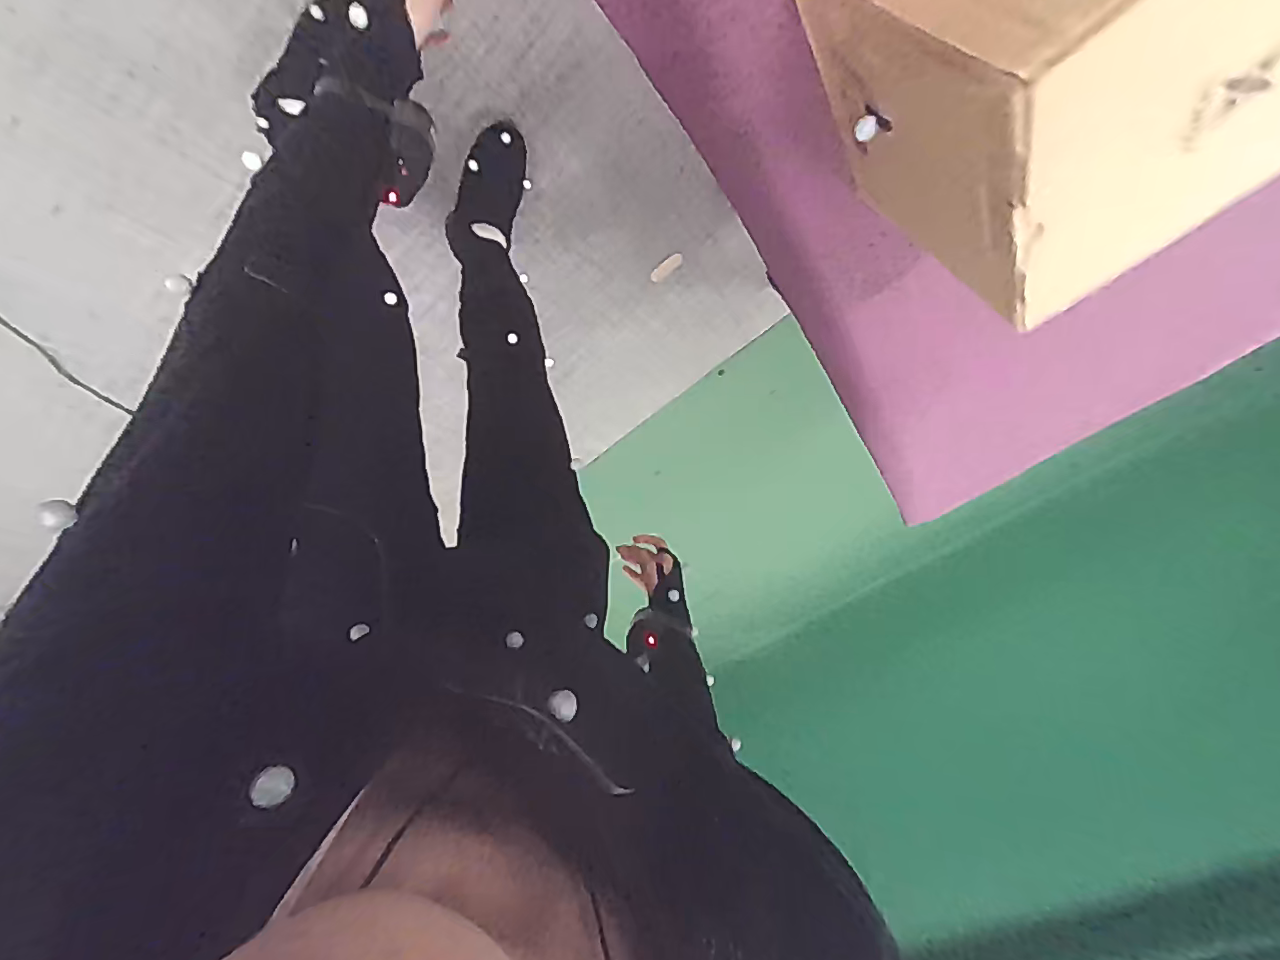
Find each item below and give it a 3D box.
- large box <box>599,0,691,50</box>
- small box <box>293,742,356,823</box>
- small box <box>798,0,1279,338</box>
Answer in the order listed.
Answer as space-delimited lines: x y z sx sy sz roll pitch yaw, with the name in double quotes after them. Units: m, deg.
0.022 -0.786 0.542 0.408 0.320 0.320 -34 145 21 "large box"
-1.006 0.958 1.721 0.168 0.176 0.179 0 140 -32 "small box"
0.209 -0.213 0.256 0.179 0.176 0.168 -35 145 20 "small box"
